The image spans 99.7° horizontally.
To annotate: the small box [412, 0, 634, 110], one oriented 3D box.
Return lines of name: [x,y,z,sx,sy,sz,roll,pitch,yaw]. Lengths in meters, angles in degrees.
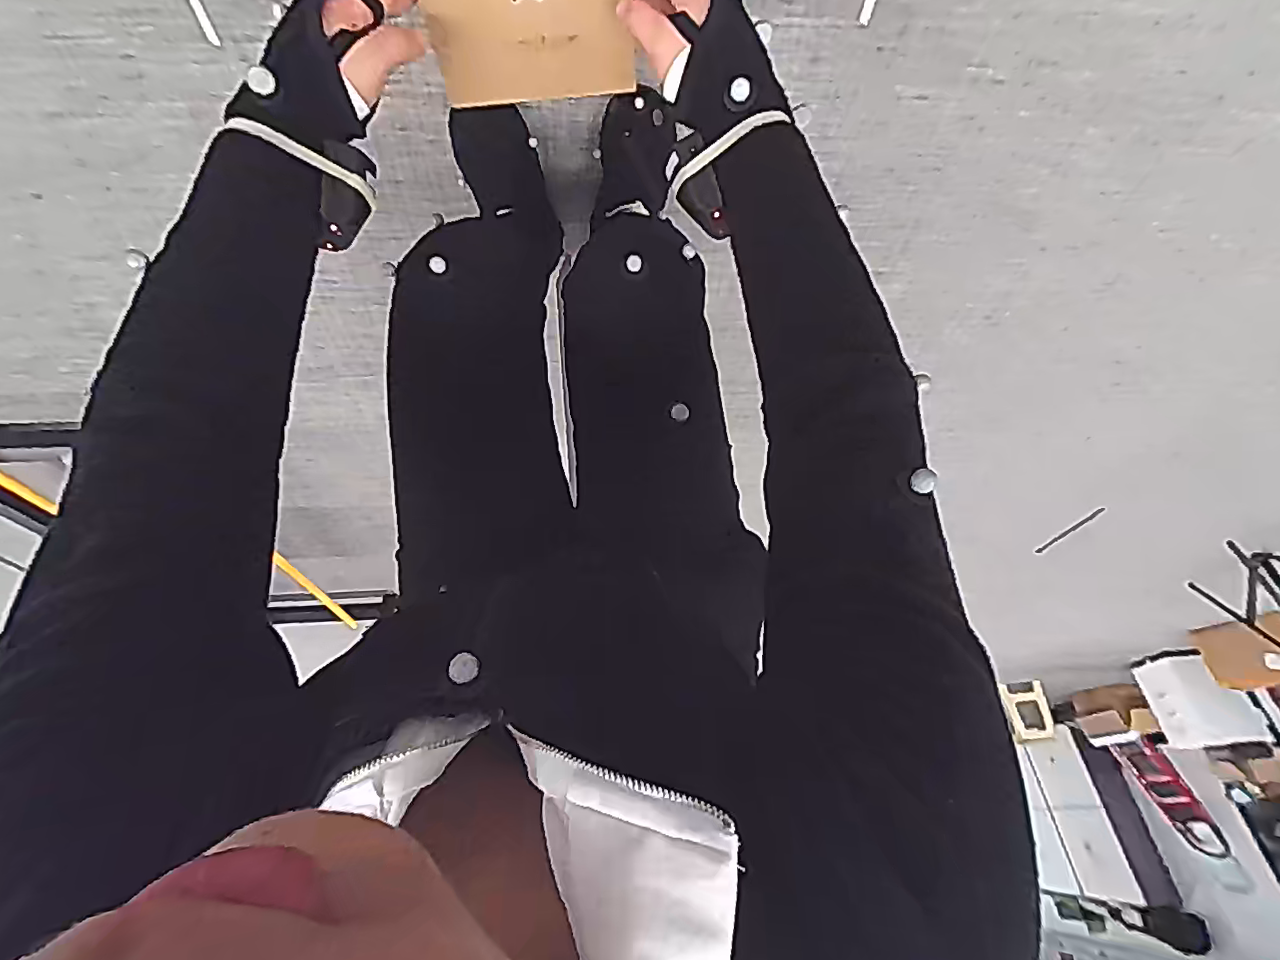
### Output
small box: [-0.095,-0.436,0.426,0.168,0.176,0.179,-5,154,0]
